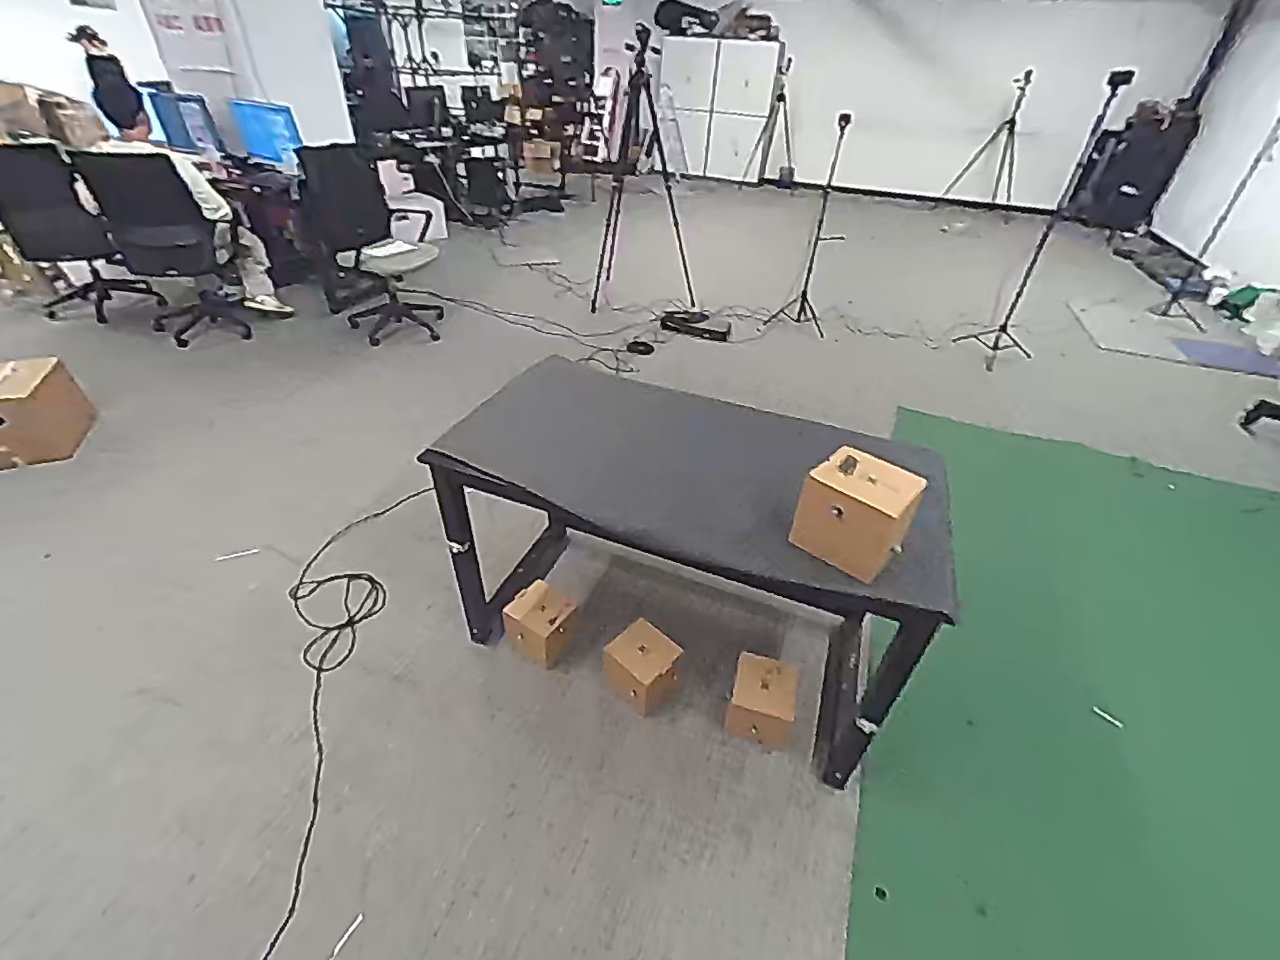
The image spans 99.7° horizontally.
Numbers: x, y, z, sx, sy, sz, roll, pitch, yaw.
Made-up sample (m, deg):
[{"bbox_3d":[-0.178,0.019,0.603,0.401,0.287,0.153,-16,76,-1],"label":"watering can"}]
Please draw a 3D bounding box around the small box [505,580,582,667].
[{"bbox_3d":[-0.301,0.458,1.719,0.179,0.176,0.168,23,42,26],"label":"small box"}]

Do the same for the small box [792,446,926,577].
[{"bbox_3d":[0.427,0.061,1.073,0.179,0.176,0.168,30,43,33],"label":"small box"}]

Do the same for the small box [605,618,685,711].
[{"bbox_3d":[0.014,0.555,1.611,0.179,0.176,0.168,29,44,32],"label":"small box"}]

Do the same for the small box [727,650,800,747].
[{"bbox_3d":[0.348,0.623,1.539,0.168,0.176,0.179,13,39,12],"label":"small box"}]
